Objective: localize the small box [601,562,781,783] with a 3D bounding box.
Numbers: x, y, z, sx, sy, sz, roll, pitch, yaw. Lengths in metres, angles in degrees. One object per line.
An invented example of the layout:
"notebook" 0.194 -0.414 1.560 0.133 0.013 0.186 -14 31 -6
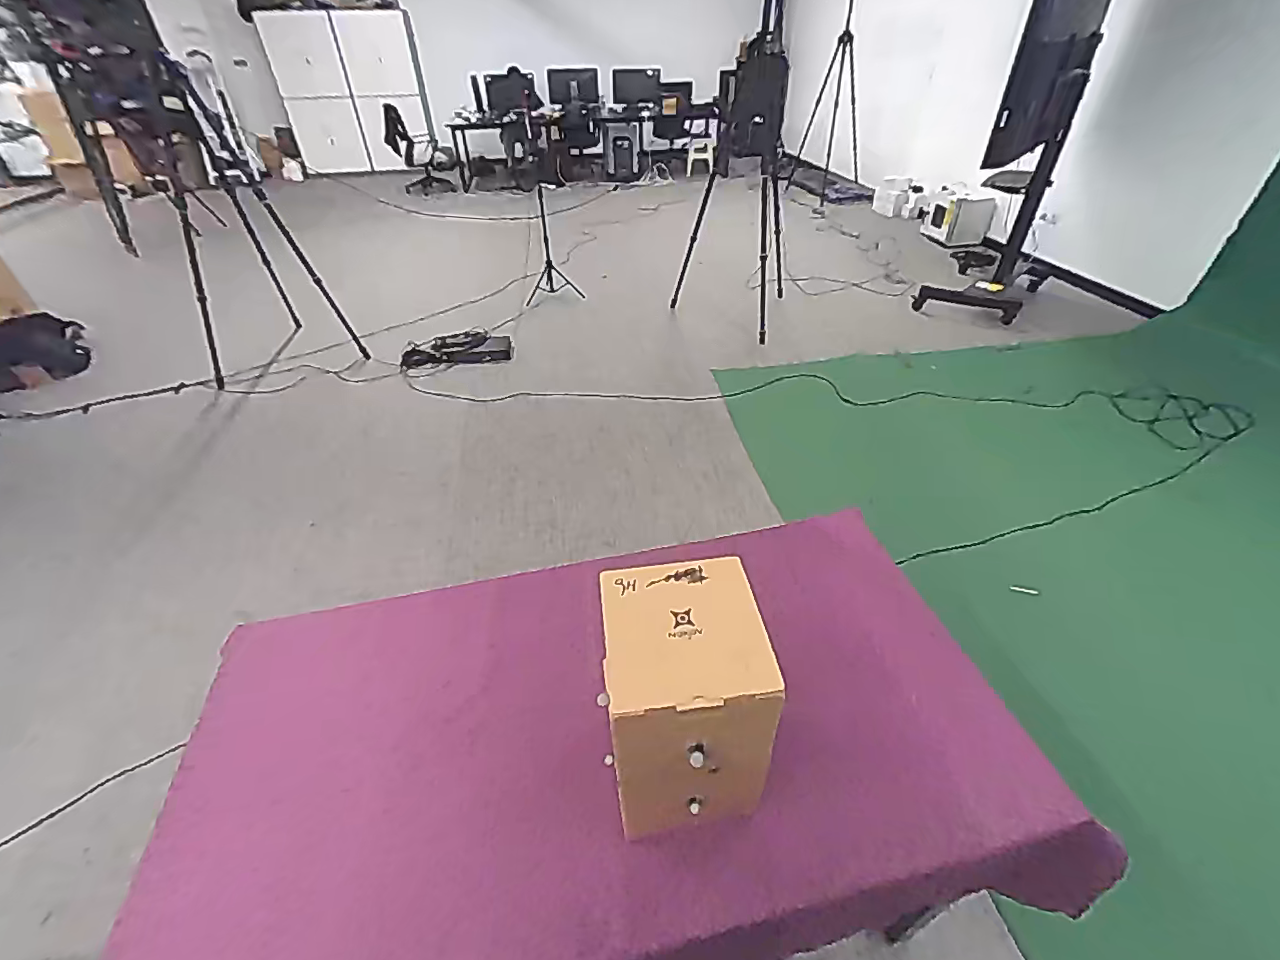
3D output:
"small box" 0.047 0.219 0.611 0.168 0.176 0.179 -5 40 -4
